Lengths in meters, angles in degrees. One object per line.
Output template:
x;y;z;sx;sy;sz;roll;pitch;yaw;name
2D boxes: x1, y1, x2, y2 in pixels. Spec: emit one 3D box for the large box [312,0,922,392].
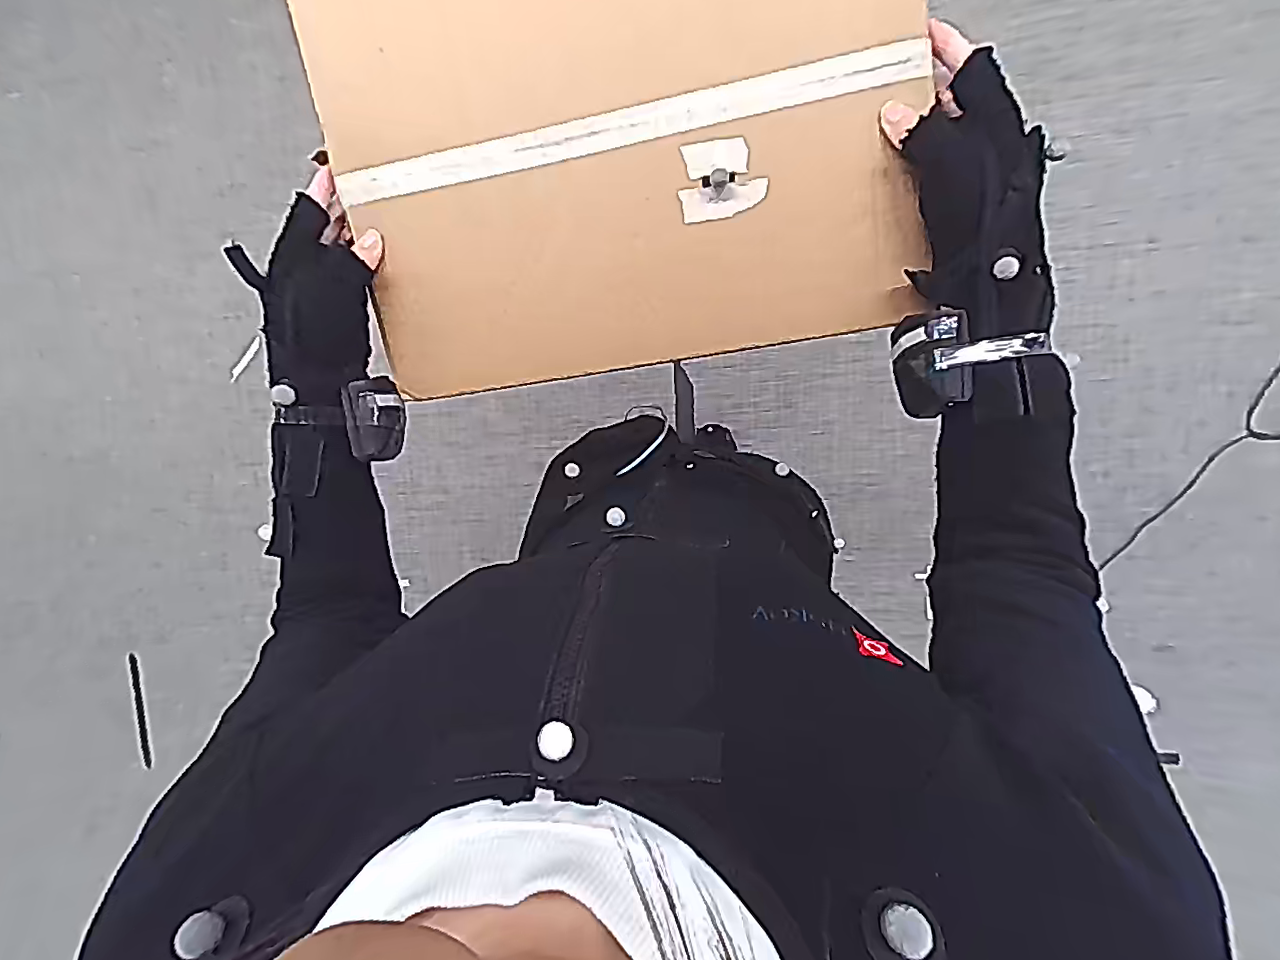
-0.002;-0.284;0.524;0.408;0.320;0.320;-8;105;8;large box
